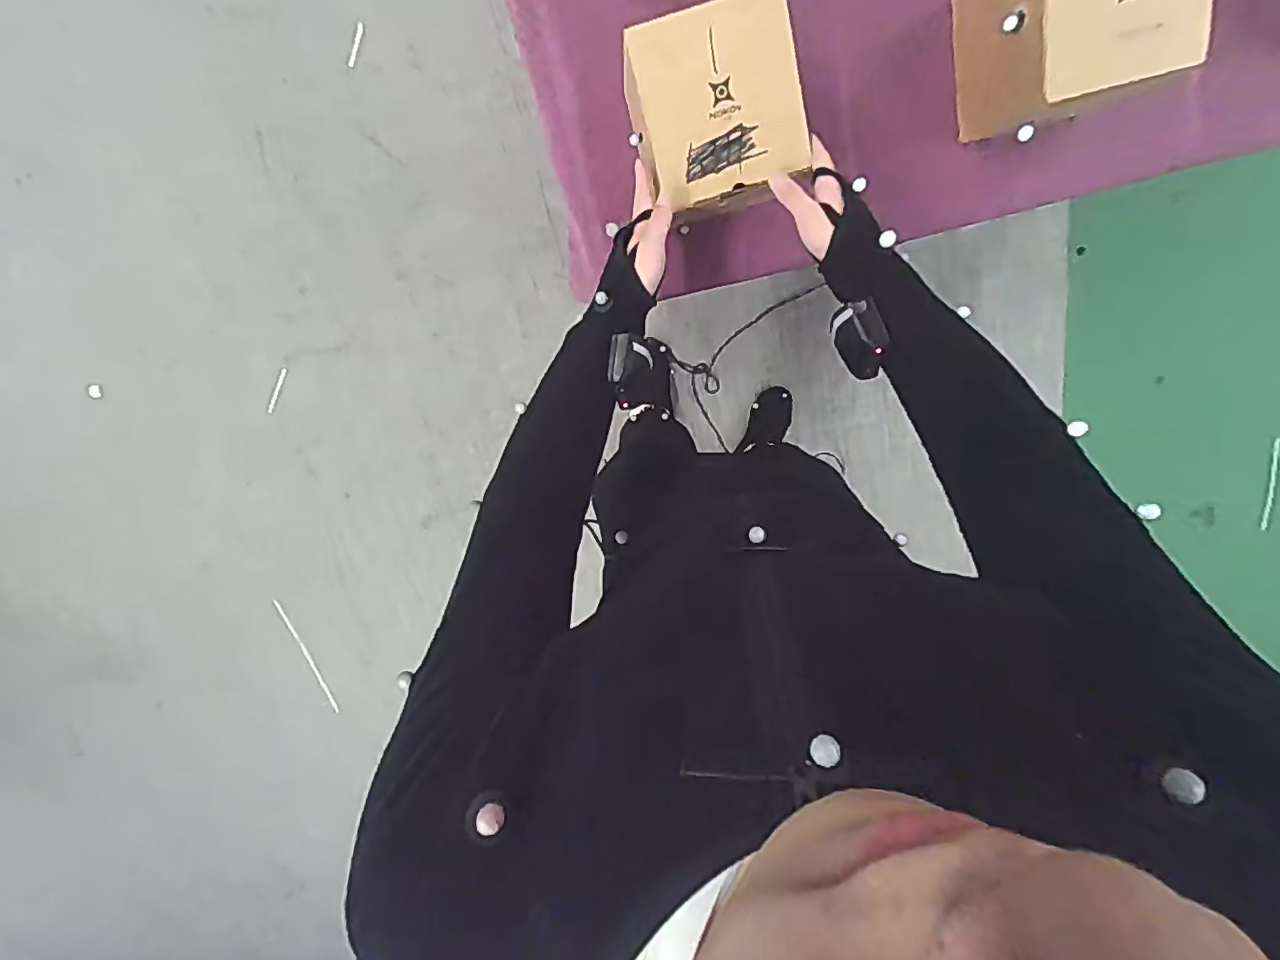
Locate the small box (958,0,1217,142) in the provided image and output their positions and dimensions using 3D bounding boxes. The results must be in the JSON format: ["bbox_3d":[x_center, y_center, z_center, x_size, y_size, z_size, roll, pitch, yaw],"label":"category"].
[{"bbox_3d":[0.487,-0.518,0.611,0.168,0.176,0.179,-13,108,3],"label":"small box"}]

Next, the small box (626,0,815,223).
[{"bbox_3d":[0.086,-0.415,0.631,0.168,0.176,0.179,-16,107,3],"label":"small box"}]
